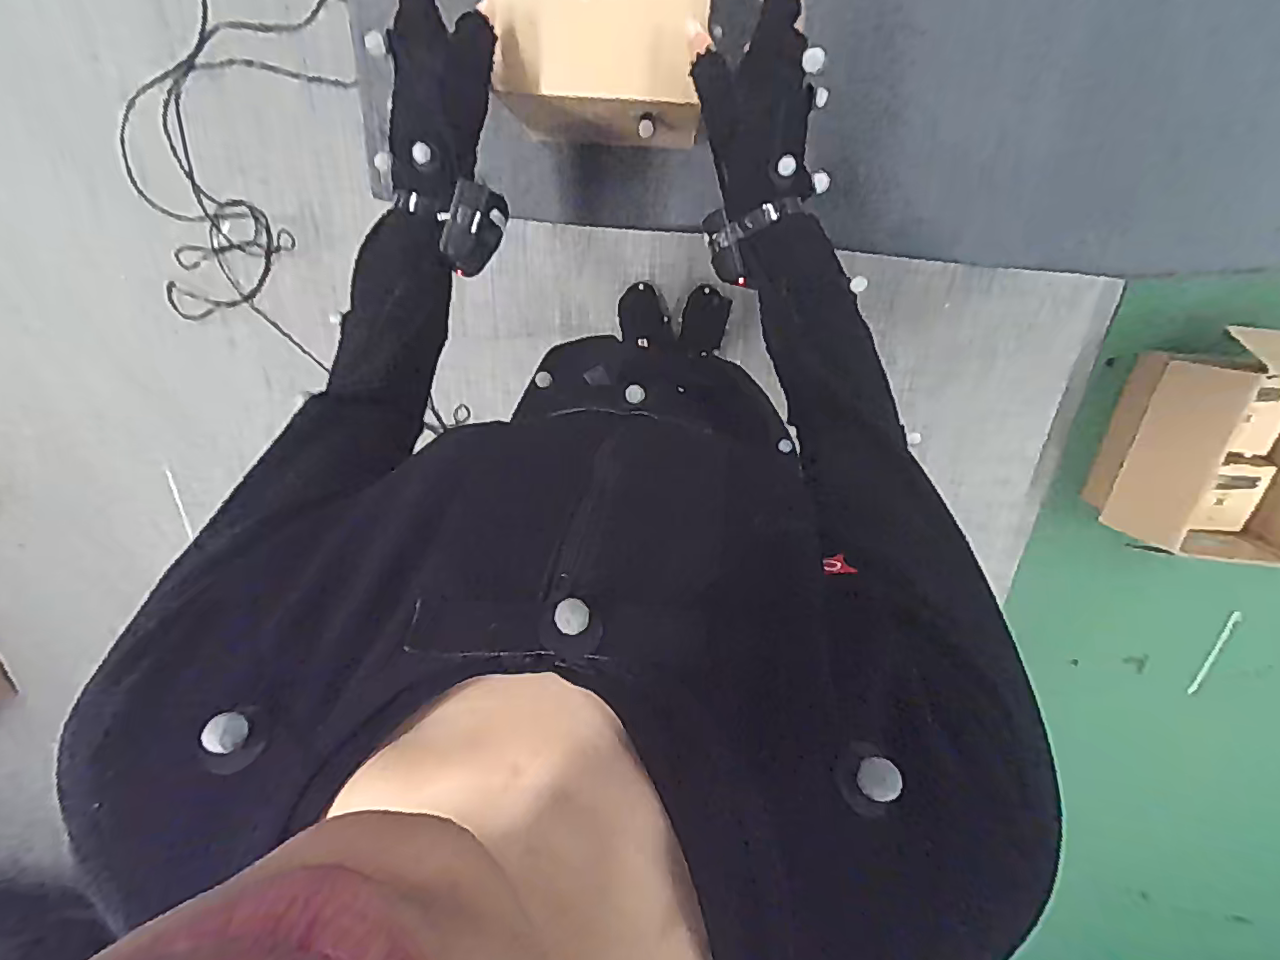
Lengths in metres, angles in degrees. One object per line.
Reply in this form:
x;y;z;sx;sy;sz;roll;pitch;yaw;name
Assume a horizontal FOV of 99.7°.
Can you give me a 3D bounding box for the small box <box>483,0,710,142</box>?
-0.030;-0.412;0.477;0.179;0.176;0.168;4;111;2;small box
